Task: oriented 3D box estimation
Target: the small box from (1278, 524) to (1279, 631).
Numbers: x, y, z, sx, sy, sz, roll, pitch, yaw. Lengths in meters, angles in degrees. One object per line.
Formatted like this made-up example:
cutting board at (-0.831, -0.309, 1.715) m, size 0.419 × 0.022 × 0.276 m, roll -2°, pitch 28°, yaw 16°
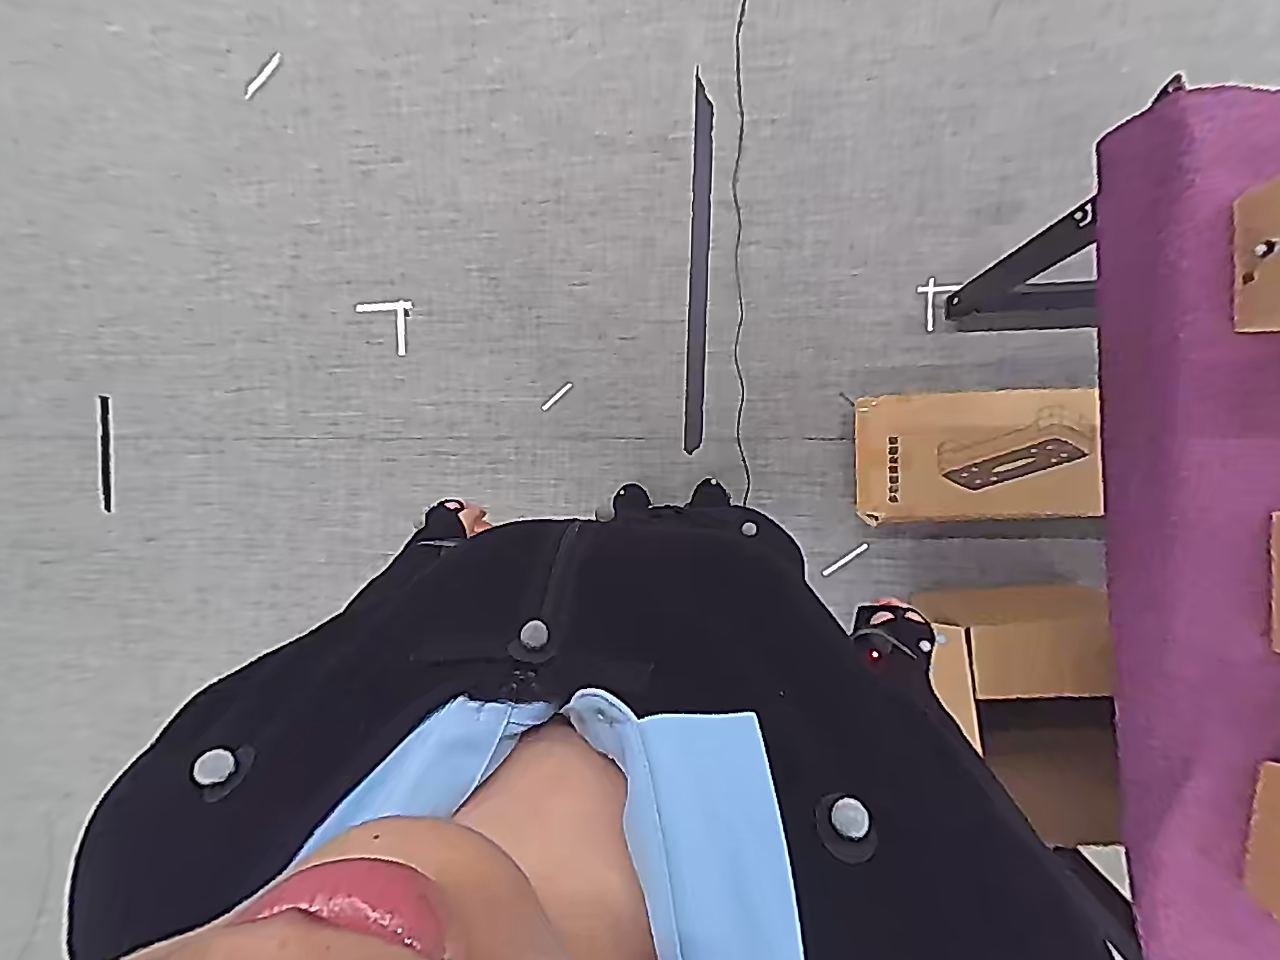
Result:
small box at (0.860, 0.128, 0.581) m, size 0.168 × 0.176 × 0.179 m, roll -1°, pitch 91°, yaw 4°

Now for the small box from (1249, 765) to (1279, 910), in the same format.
small box at (0.843, 0.446, 0.592) m, size 0.168 × 0.176 × 0.179 m, roll 6°, pitch 92°, yaw 6°
